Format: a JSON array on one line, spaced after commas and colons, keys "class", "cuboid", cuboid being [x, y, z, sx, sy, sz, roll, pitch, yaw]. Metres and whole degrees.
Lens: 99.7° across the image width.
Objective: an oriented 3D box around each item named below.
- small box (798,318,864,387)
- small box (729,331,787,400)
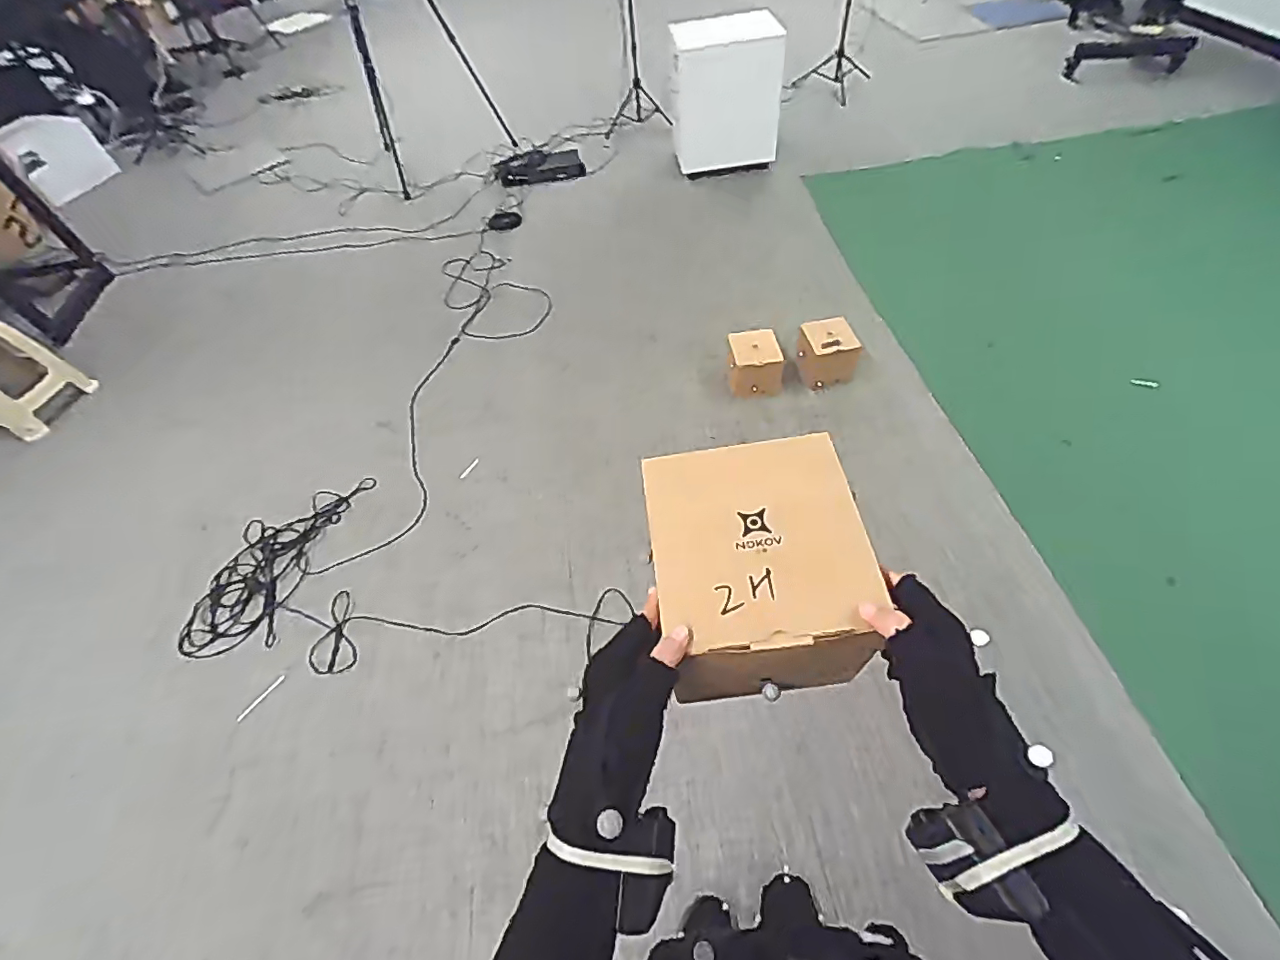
[{"class": "small box", "cuboid": [0.691, -0.458, 1.977, 0.168, 0.176, 0.179, -10, 53, -1]}, {"class": "small box", "cuboid": [0.426, -0.417, 1.978, 0.168, 0.176, 0.179, -8, 54, 1]}]
